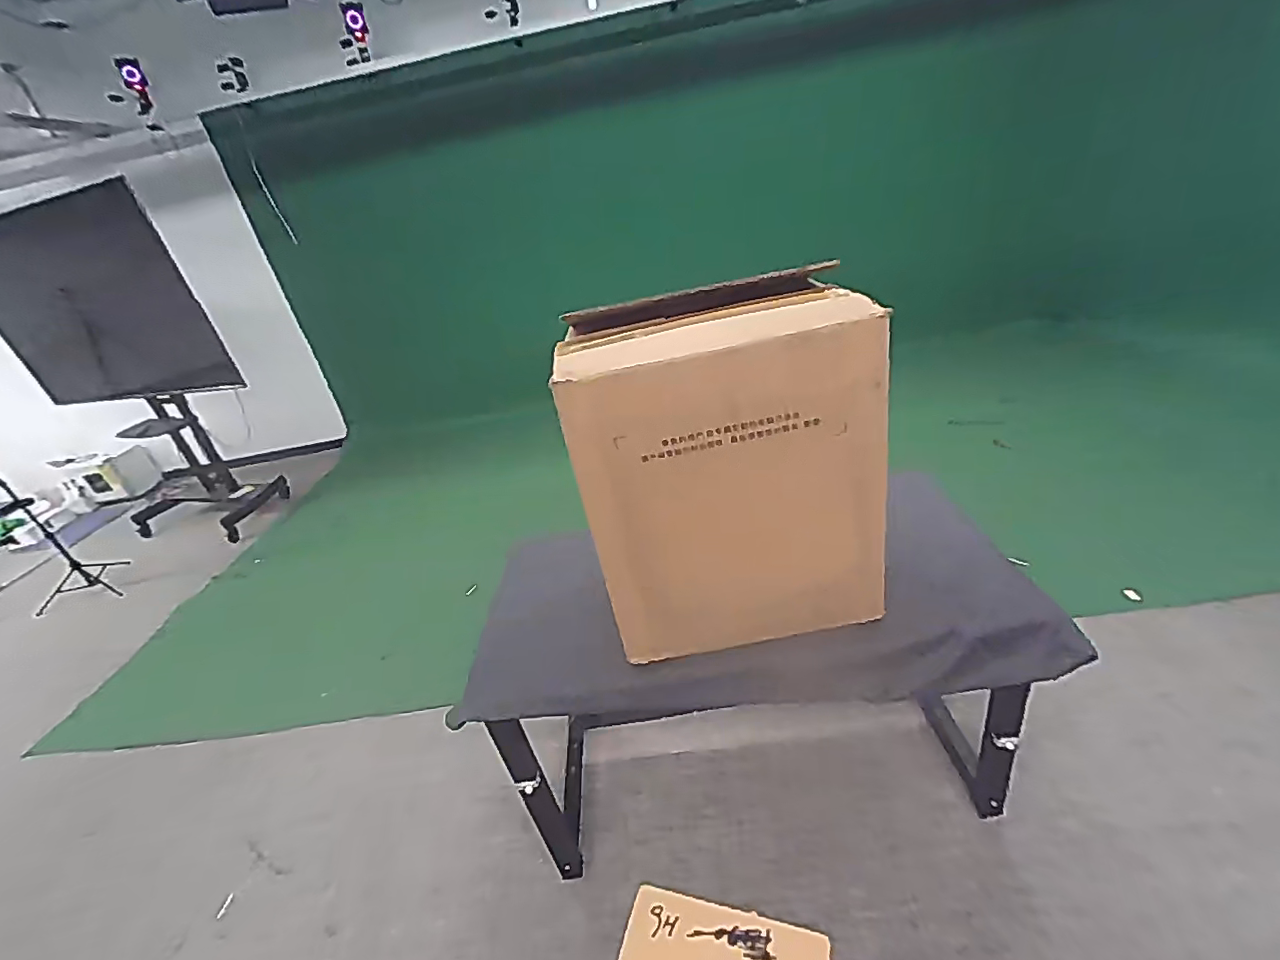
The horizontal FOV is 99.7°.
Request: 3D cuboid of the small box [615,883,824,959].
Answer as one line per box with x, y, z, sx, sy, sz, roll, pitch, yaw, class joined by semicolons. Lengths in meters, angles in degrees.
0.056;0.480;0.427;0.168;0.176;0.179;3;24;17;small box
